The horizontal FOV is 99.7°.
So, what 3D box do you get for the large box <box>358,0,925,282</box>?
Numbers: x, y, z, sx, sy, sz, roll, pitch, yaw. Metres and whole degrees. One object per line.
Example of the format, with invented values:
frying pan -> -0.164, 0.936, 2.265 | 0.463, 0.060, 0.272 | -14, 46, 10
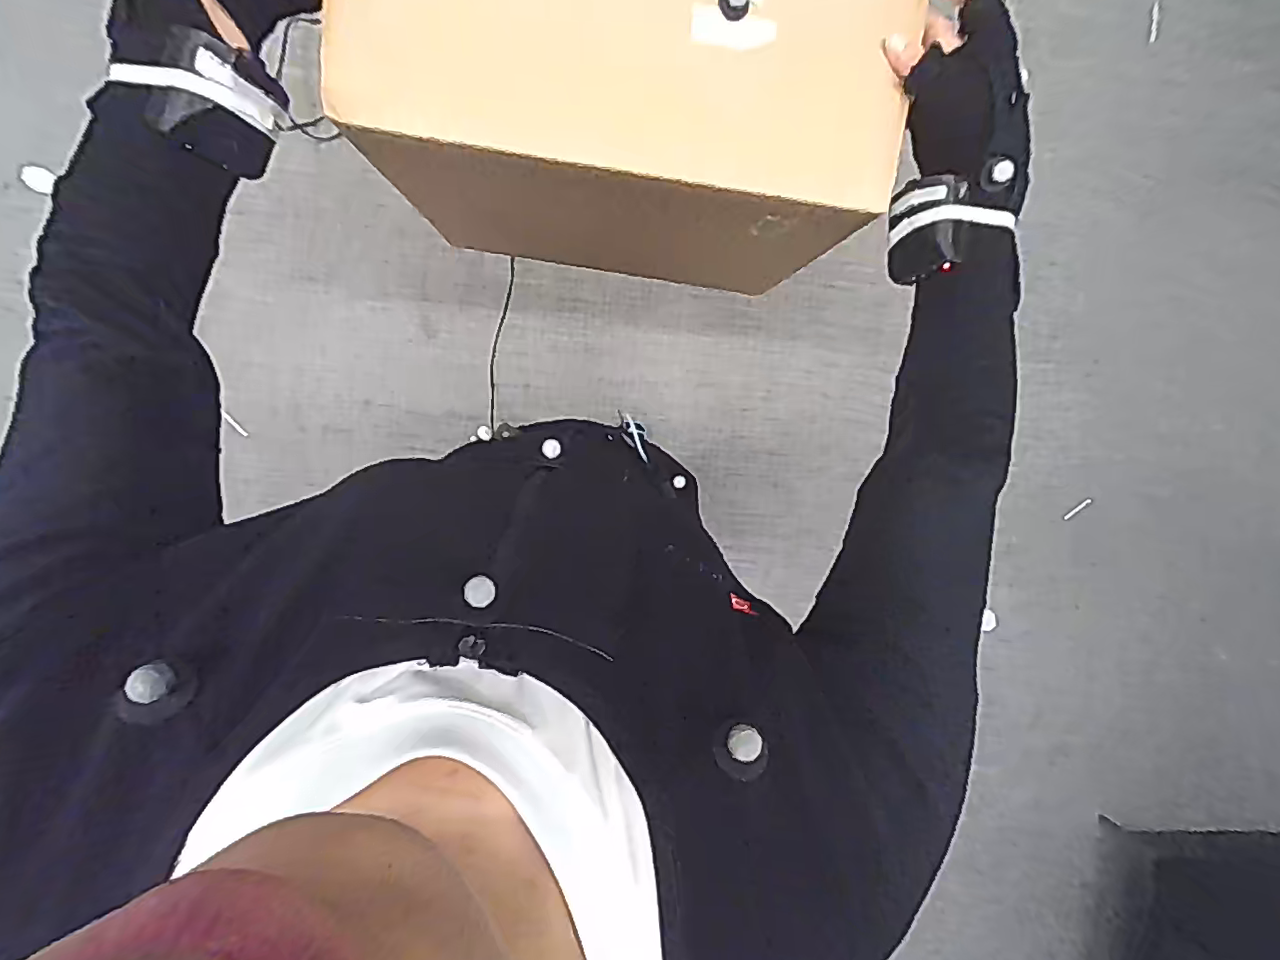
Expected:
large box -> 0.000, -0.403, 0.522 | 0.408, 0.320, 0.320 | 6, 98, -6
